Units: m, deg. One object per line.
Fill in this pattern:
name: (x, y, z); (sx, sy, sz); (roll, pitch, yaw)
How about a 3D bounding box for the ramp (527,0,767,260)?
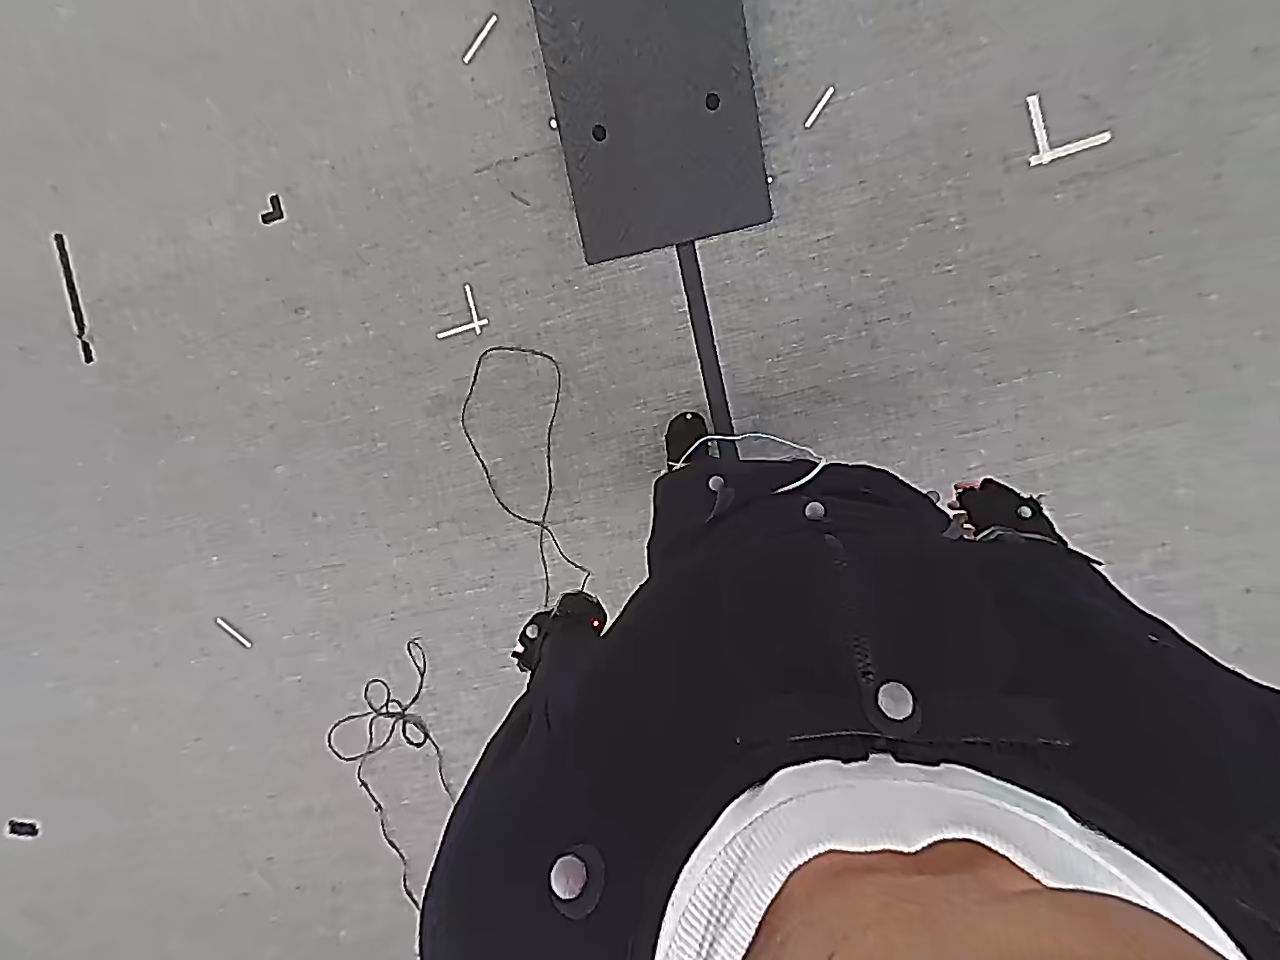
ramp: (-0.012, -1.096, 1.285); (0.509, 0.206, 0.991); (-12, 94, 8)
